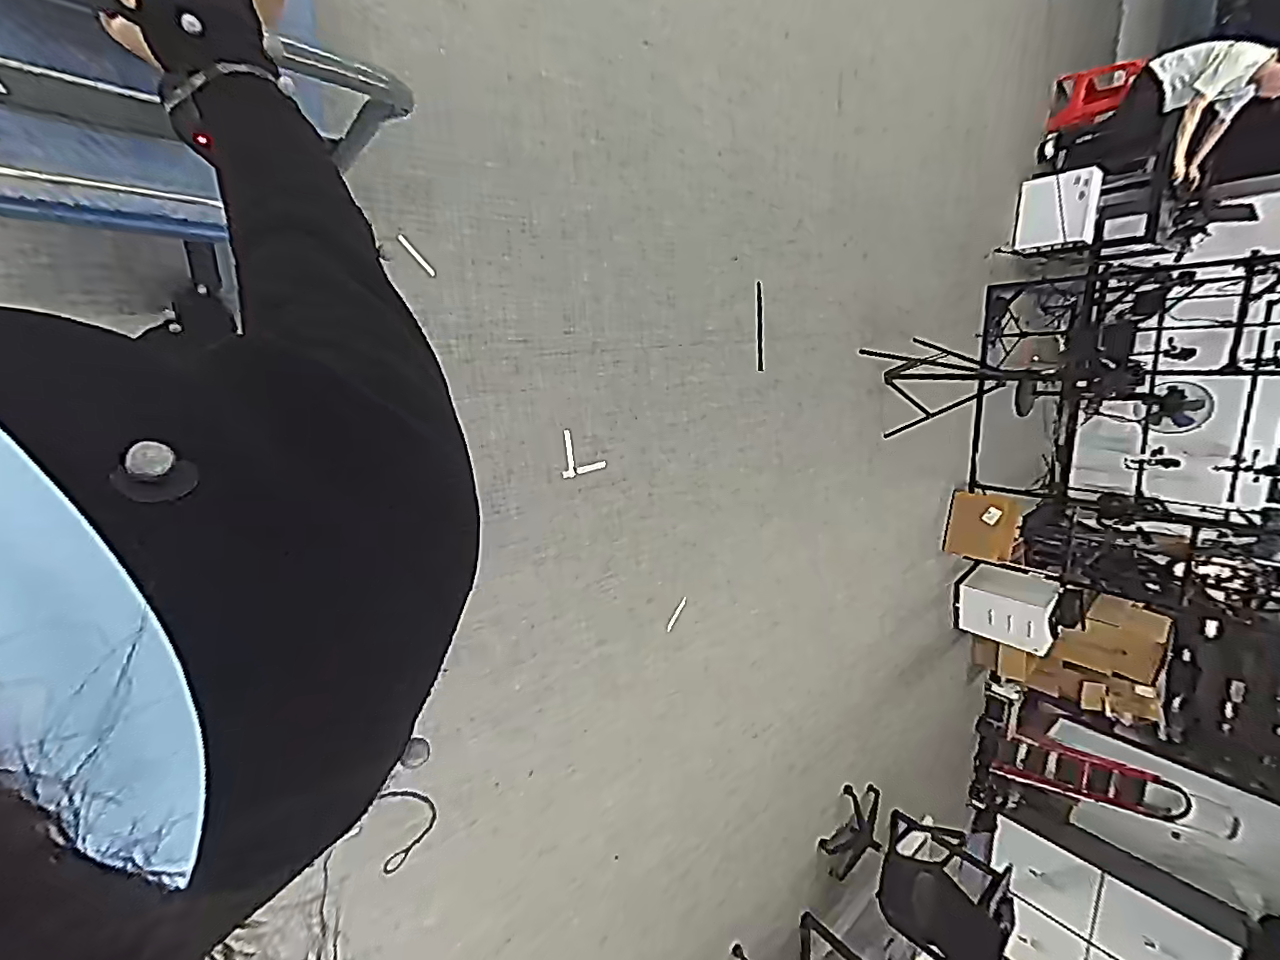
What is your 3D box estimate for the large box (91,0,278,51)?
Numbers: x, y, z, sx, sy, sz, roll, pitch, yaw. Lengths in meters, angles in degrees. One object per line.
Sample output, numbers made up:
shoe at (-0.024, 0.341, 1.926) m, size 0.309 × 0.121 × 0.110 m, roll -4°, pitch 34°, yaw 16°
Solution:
large box at (-0.749, -0.883, 0.732) m, size 0.408 × 0.320 × 0.320 m, roll -7°, pitch 103°, yaw -38°
